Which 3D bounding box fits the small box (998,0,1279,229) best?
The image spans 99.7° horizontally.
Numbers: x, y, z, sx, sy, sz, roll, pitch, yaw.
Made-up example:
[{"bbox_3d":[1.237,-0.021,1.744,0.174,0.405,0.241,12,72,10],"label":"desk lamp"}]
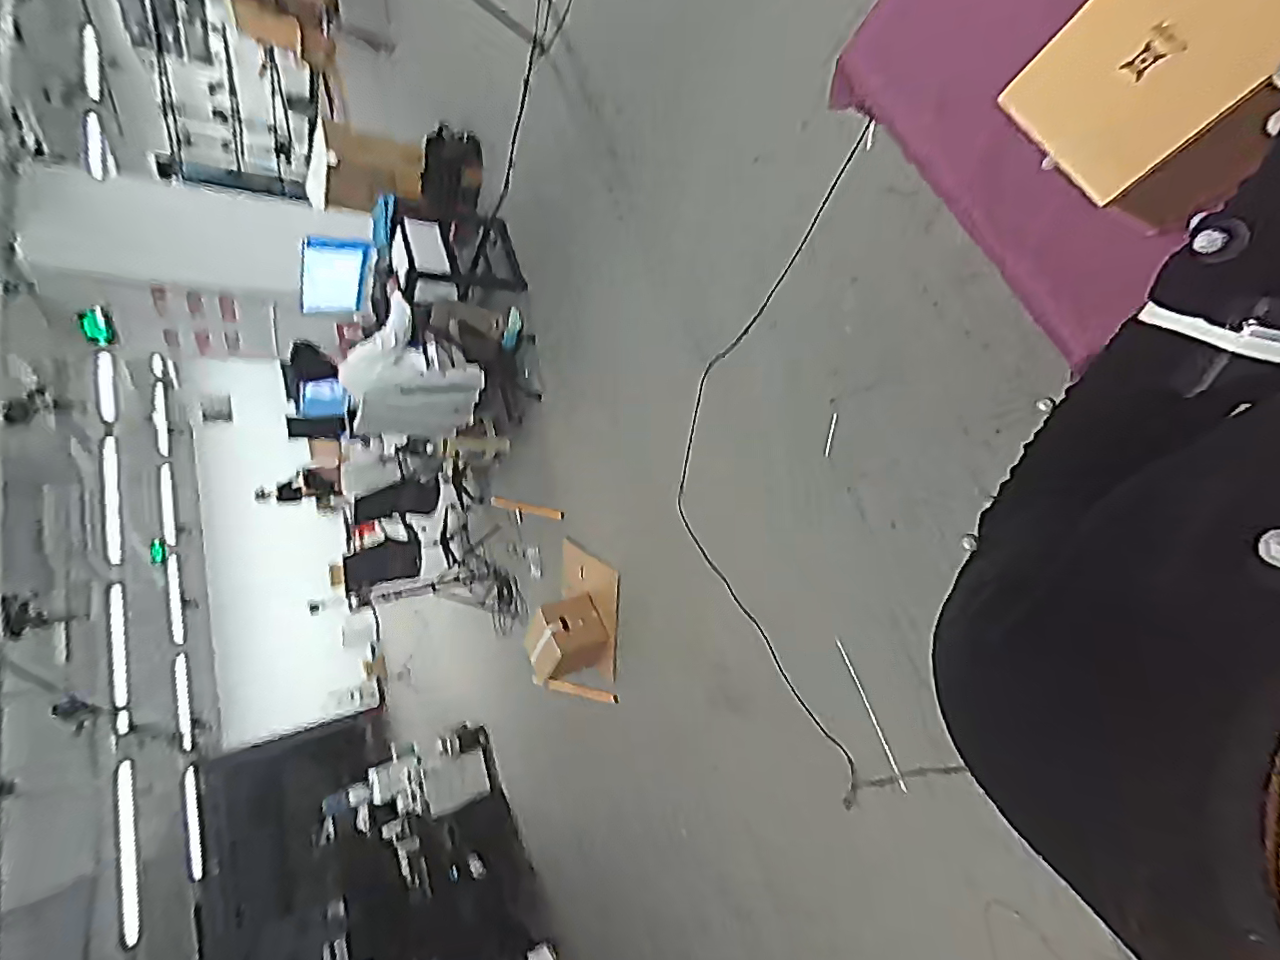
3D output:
[{"bbox_3d":[0.500,-0.370,0.512,0.179,0.176,0.168,-46,58,47],"label":"small box"}]
